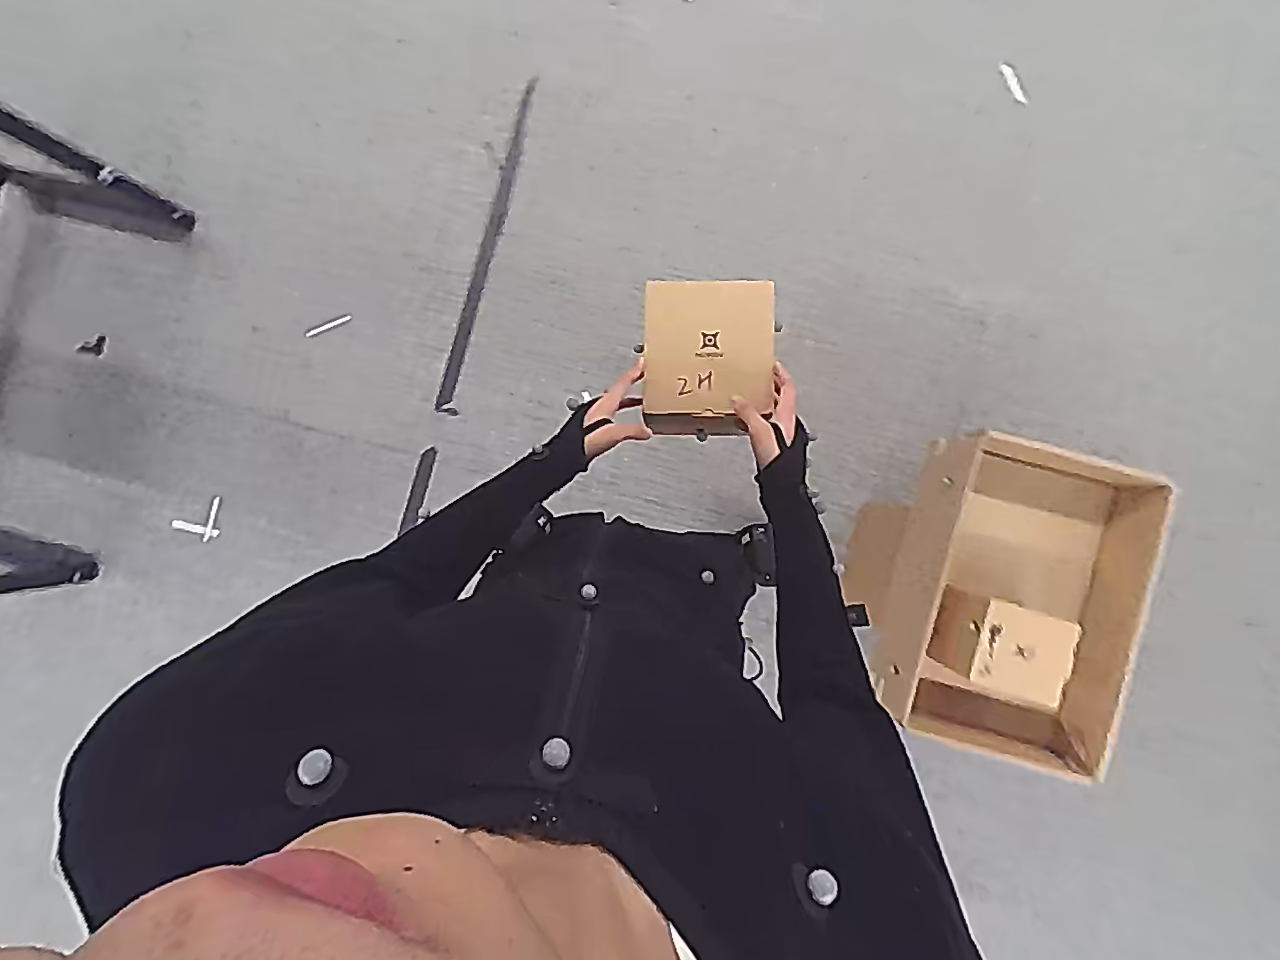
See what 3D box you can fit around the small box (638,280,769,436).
[{"bbox_3d":[0.083,-0.162,0.760,0.168,0.176,0.179,0,87,3],"label":"small box"}]
